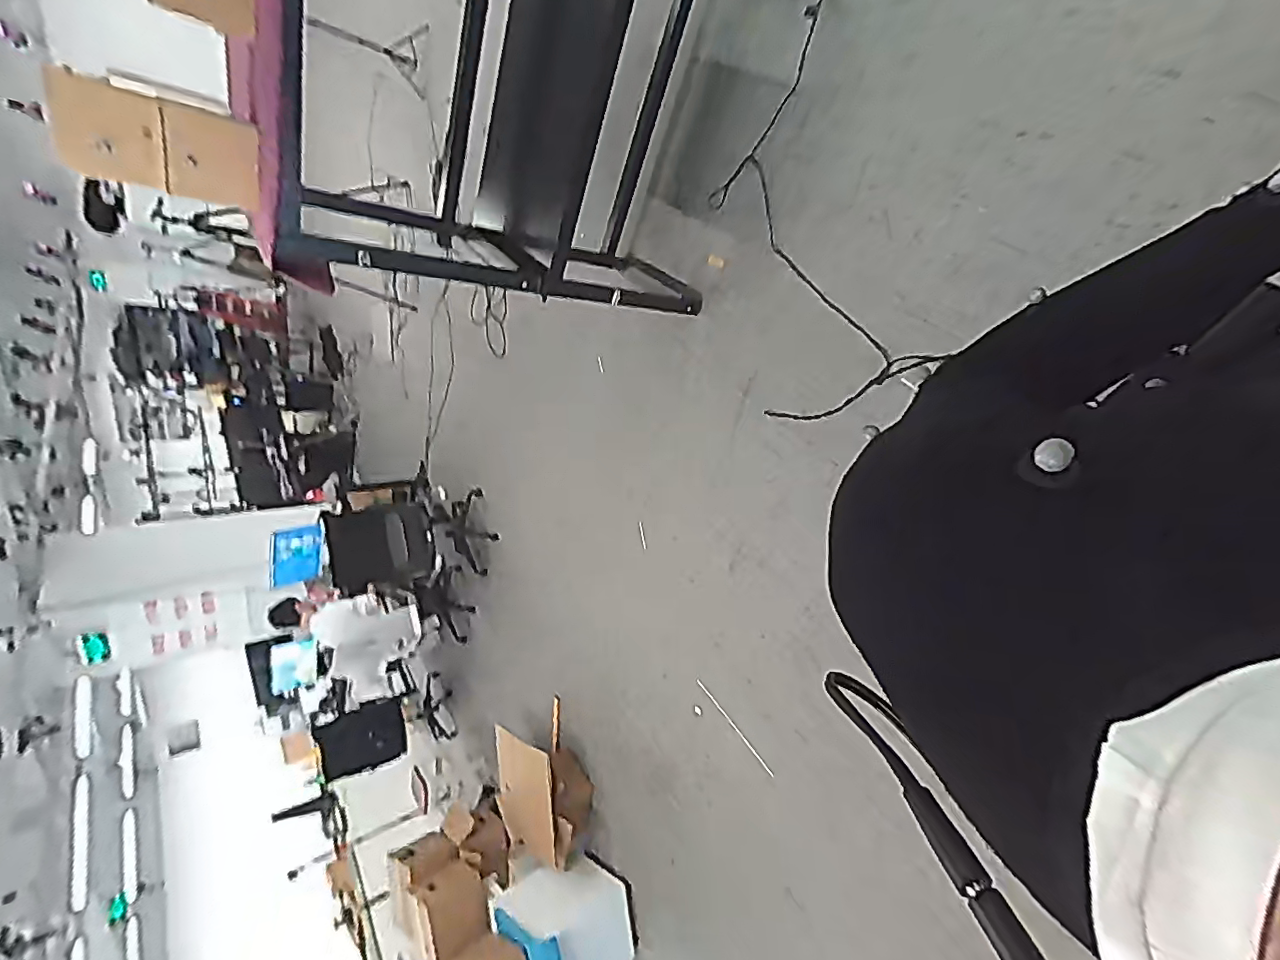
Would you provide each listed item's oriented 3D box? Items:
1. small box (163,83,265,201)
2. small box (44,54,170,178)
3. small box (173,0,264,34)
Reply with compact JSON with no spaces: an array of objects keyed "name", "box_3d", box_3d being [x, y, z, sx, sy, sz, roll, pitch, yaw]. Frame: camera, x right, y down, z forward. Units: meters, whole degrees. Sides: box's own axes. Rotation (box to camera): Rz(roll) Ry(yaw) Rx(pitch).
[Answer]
[{"name":"small box","box_3d":[-0.957,-0.754,1.218,0.168,0.176,0.179,43,124,37]},{"name":"small box","box_3d":[-1.082,-0.744,1.116,0.179,0.176,0.168,43,125,39]},{"name":"small box","box_3d":[-0.852,-1.028,1.062,0.168,0.176,0.179,48,128,36]}]
